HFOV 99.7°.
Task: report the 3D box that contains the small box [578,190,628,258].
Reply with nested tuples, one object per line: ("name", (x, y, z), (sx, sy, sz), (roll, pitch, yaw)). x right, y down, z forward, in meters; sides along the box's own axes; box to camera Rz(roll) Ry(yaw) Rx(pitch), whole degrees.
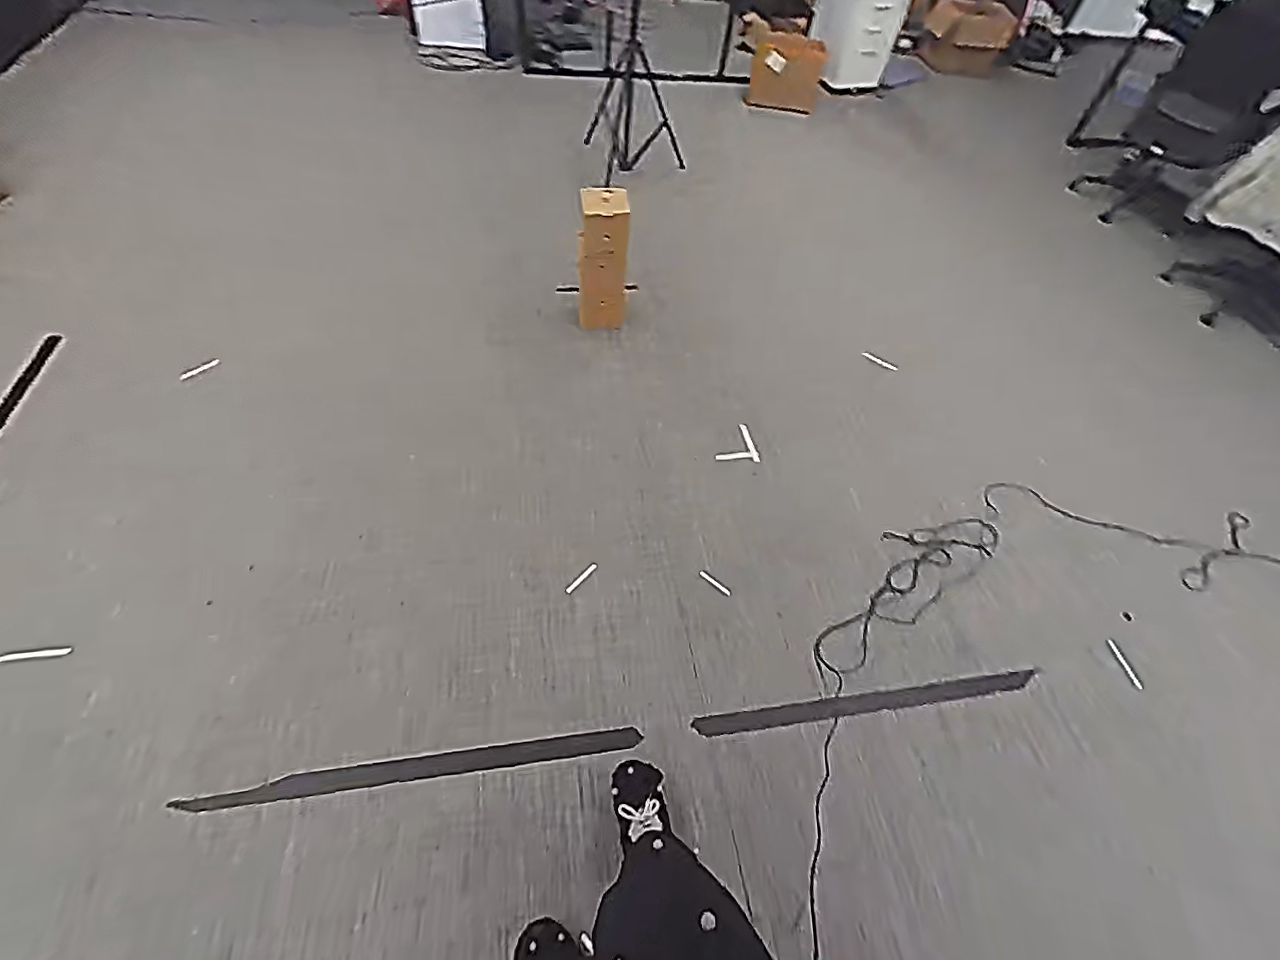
("small box", (-0.136, -0.927, 1.964), (0.168, 0.176, 0.179), (-4, 56, -8))

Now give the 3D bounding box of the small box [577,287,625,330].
("small box", (-0.165, -0.737, 2.230), (0.179, 0.176, 0.168), (-5, 56, -9))

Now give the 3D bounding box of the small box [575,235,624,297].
("small box", (-0.158, -0.829, 2.093), (0.179, 0.176, 0.168), (-3, 56, -8))
